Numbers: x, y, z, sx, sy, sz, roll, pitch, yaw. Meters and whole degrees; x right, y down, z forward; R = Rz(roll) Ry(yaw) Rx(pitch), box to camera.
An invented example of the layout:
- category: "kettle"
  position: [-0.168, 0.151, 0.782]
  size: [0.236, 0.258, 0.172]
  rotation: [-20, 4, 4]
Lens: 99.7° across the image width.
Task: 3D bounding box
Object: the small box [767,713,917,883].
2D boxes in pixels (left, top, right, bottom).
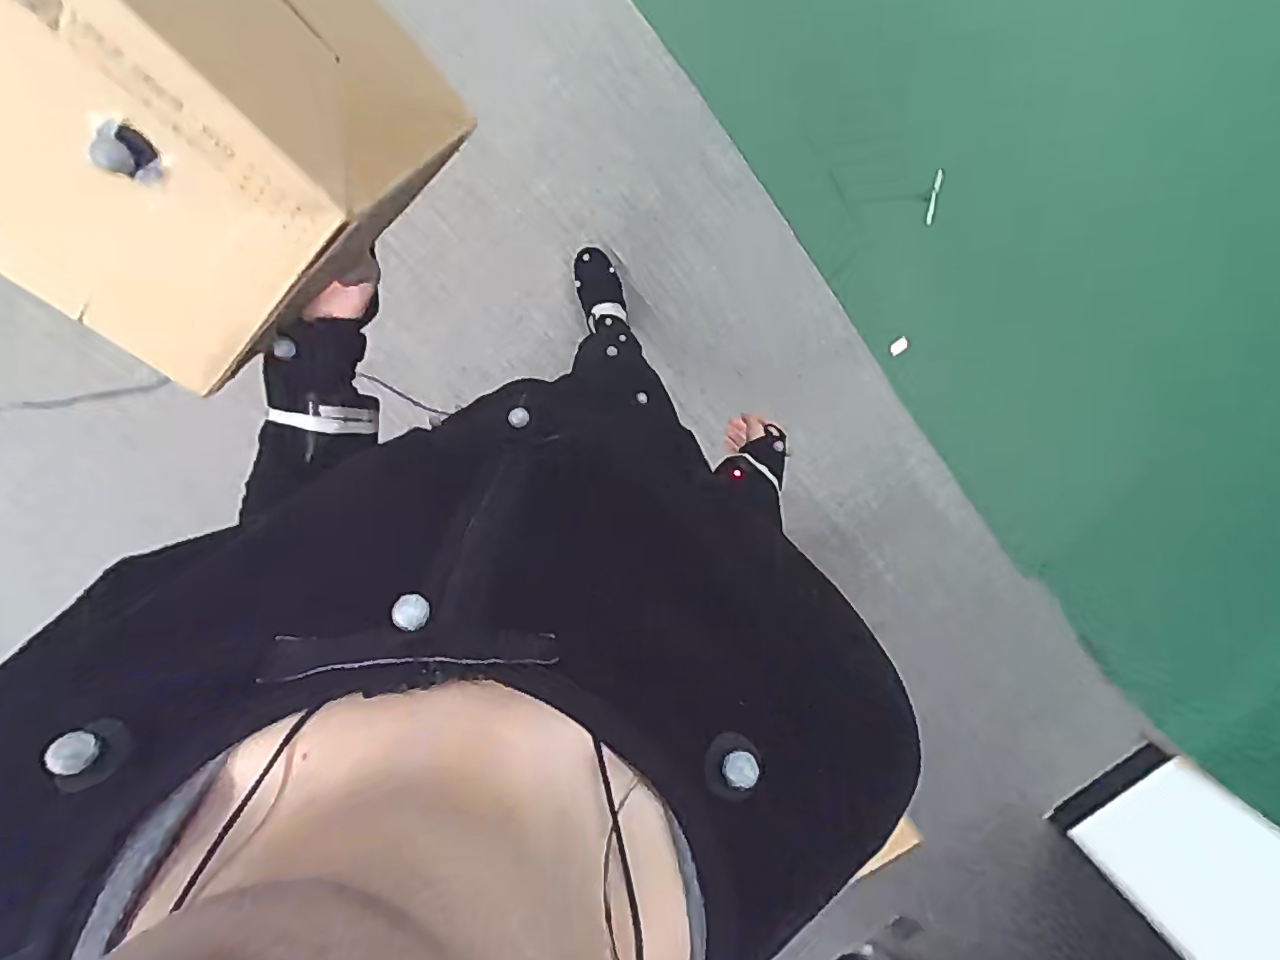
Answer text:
- category: "small box"
  position: [0.362, 0.576, 0.997]
  size: [0.168, 0.176, 0.179]
  rotation: [-33, 105, 3]

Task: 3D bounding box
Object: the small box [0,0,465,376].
- category: "small box"
  position: [-0.219, -0.194, 0.277]
  size: [0.176, 0.179, 0.168]
  rotation: [-29, 125, 29]

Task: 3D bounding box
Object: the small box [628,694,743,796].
- category: "small box"
  position: [0.087, 0.596, 1.147]
  size: [0.179, 0.176, 0.168]
  rotation: [-36, 103, 5]

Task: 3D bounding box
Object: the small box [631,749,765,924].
- category: "small box"
  position: [0.096, 0.643, 0.991]
  size: [0.179, 0.176, 0.168]
  rotation: [-35, 105, 5]
